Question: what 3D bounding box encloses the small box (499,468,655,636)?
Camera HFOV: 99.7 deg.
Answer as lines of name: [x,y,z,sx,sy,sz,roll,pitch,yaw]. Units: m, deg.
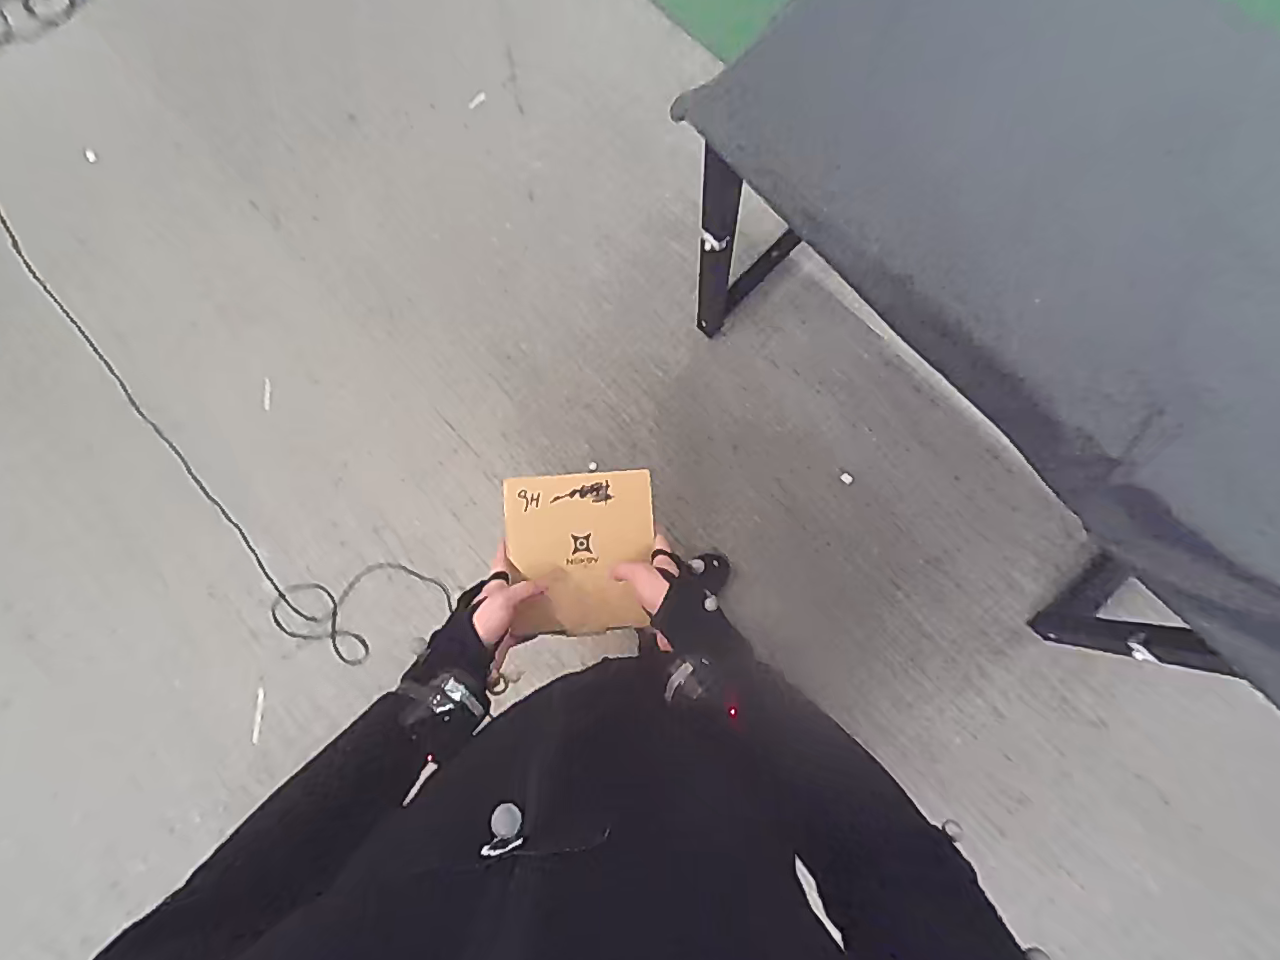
small box: [-0.071,0.079,0.666,0.168,0.176,0.179,-4,88,-3]
